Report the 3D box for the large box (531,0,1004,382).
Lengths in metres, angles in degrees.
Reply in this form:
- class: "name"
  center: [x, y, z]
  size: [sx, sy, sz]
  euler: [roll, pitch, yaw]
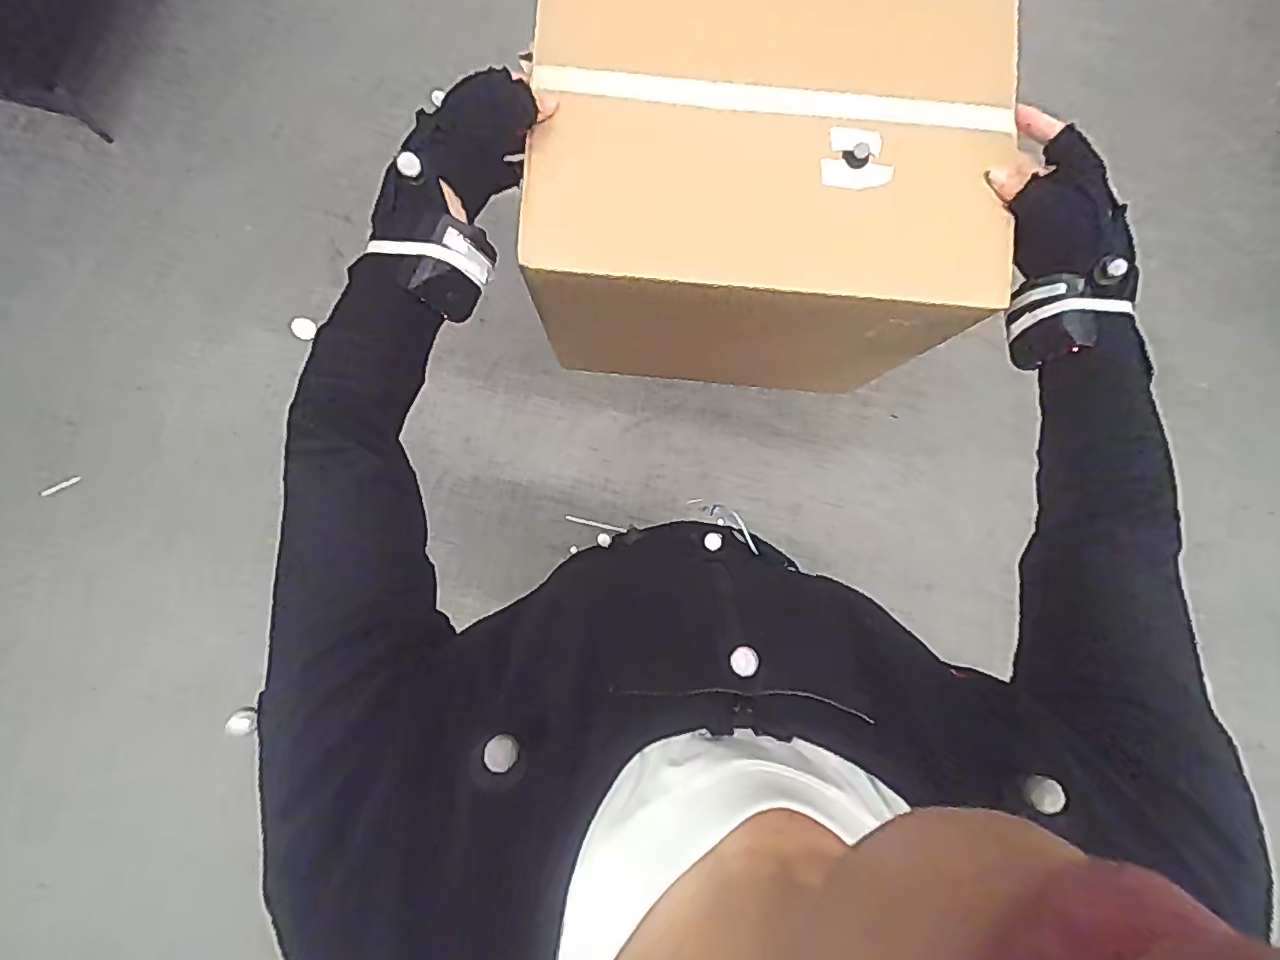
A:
- class: "large box"
  center: [0.106, -0.307, 0.608]
  size: [0.408, 0.320, 0.320]
  euler: [4, 86, -3]
